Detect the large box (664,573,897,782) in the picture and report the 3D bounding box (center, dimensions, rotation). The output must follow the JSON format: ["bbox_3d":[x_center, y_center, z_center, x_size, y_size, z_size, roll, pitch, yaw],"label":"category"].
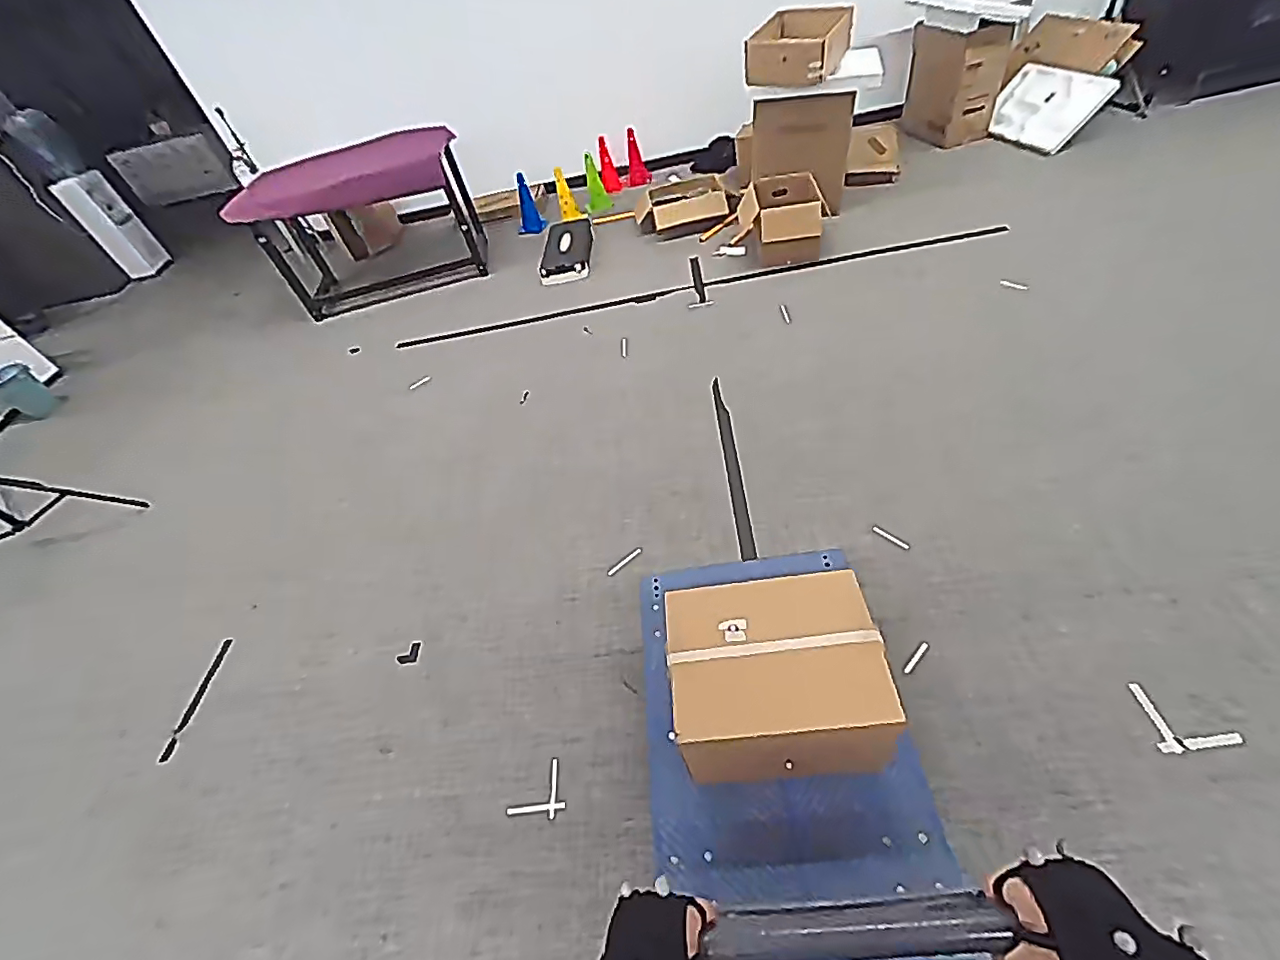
[{"bbox_3d":[0.286,0.441,1.185,0.408,0.320,0.320,-10,46,7],"label":"large box"}]
